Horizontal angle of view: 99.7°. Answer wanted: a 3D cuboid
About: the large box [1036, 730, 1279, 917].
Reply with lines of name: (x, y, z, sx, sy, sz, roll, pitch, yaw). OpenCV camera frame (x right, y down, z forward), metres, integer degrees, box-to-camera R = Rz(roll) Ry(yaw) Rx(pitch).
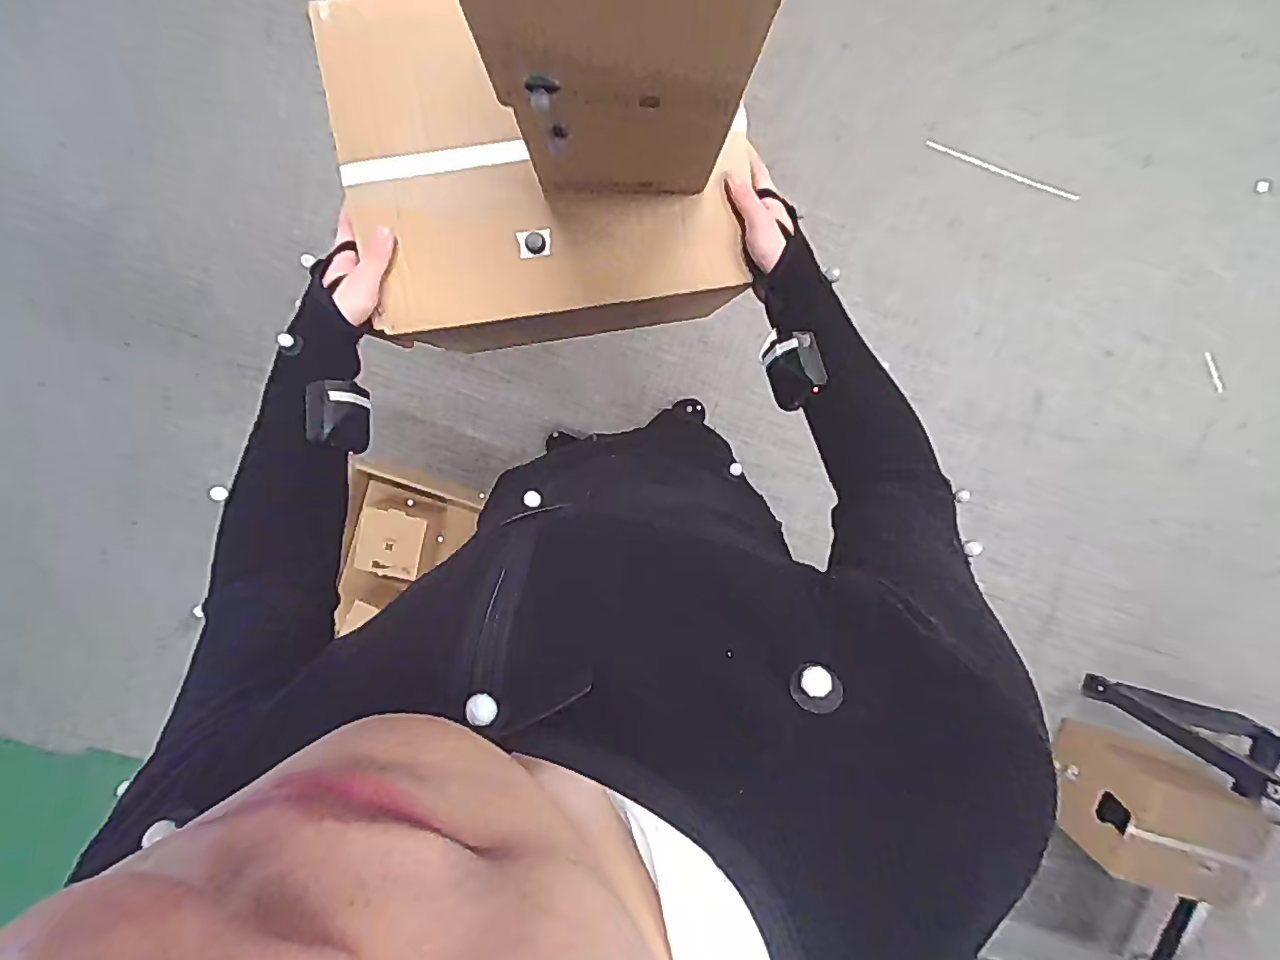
large box: (1.551, 1.031, 1.656, 0.408, 0.320, 0.320, 18, 97, -5)

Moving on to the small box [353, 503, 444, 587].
small box: (-0.657, 0.171, 1.491, 0.168, 0.176, 0.179, 14, 97, -4)
